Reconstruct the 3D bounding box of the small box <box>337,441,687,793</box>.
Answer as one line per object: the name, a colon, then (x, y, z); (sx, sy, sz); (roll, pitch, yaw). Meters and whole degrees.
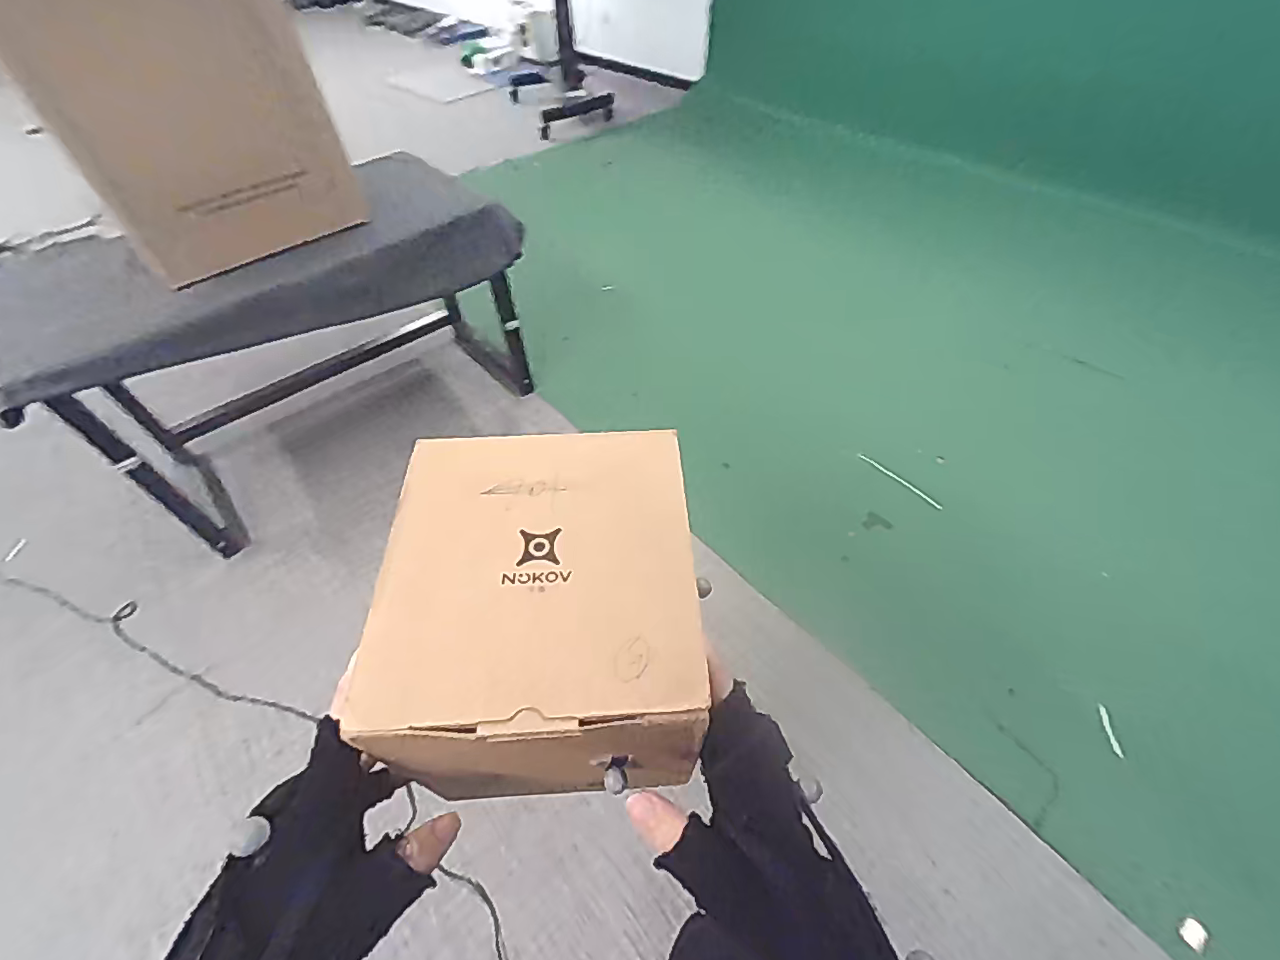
small box: (-0.062, 0.097, 0.360); (0.168, 0.176, 0.179); (-3, 51, -3)
